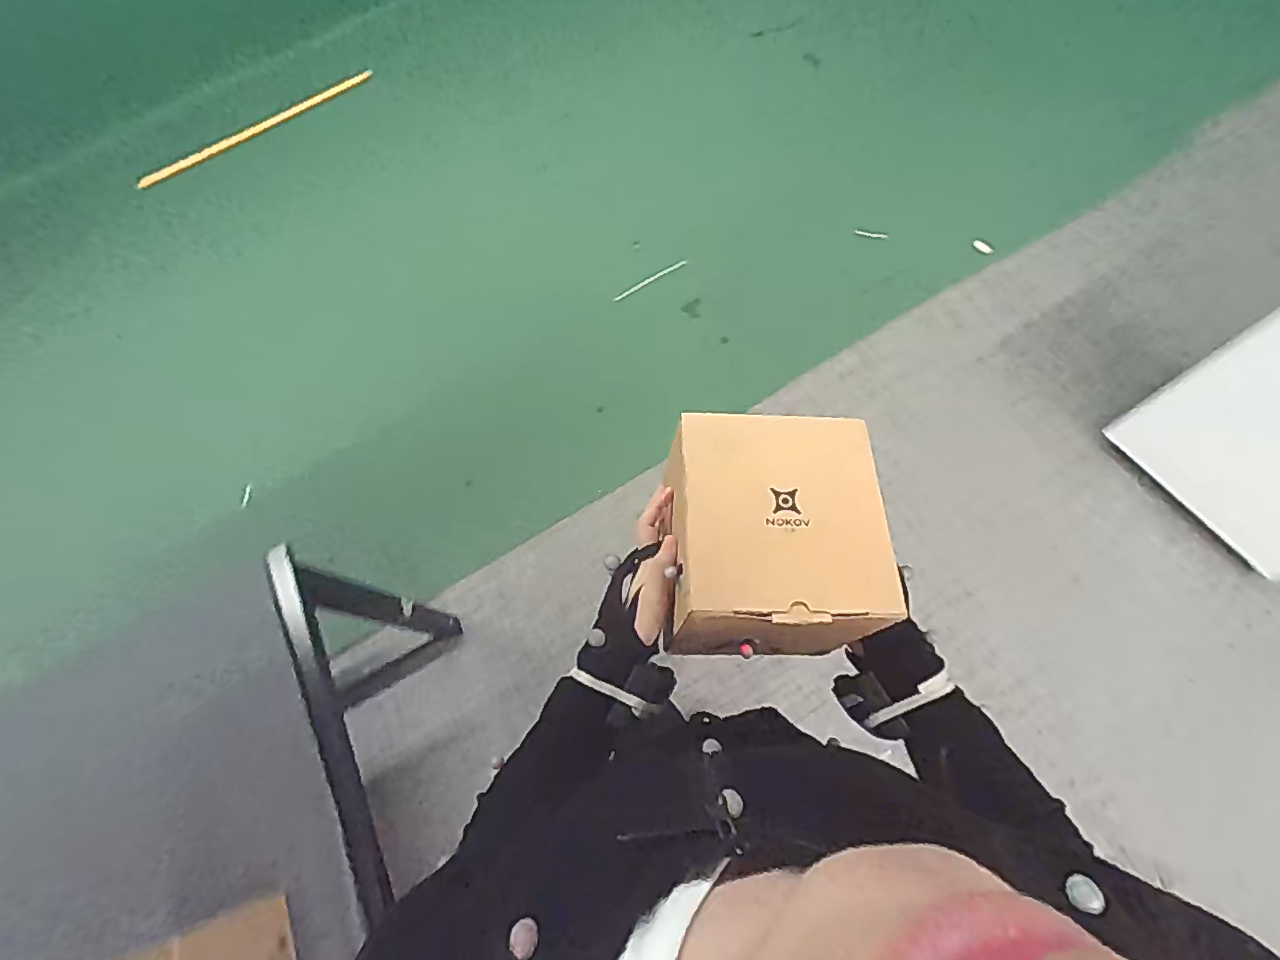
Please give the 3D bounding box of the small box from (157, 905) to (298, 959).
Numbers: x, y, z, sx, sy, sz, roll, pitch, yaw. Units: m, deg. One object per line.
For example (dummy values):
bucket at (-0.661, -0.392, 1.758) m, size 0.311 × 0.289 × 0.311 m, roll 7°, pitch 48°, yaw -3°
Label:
small box at (-0.526, 0.640, 0.617) m, size 0.179 × 0.176 × 0.168 m, roll -29°, pitch 67°, yaw -4°

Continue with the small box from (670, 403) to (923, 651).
small box at (0.119, 0.051, 0.496) m, size 0.168 × 0.176 × 0.179 m, roll 2°, pitch 63°, yaw -3°
